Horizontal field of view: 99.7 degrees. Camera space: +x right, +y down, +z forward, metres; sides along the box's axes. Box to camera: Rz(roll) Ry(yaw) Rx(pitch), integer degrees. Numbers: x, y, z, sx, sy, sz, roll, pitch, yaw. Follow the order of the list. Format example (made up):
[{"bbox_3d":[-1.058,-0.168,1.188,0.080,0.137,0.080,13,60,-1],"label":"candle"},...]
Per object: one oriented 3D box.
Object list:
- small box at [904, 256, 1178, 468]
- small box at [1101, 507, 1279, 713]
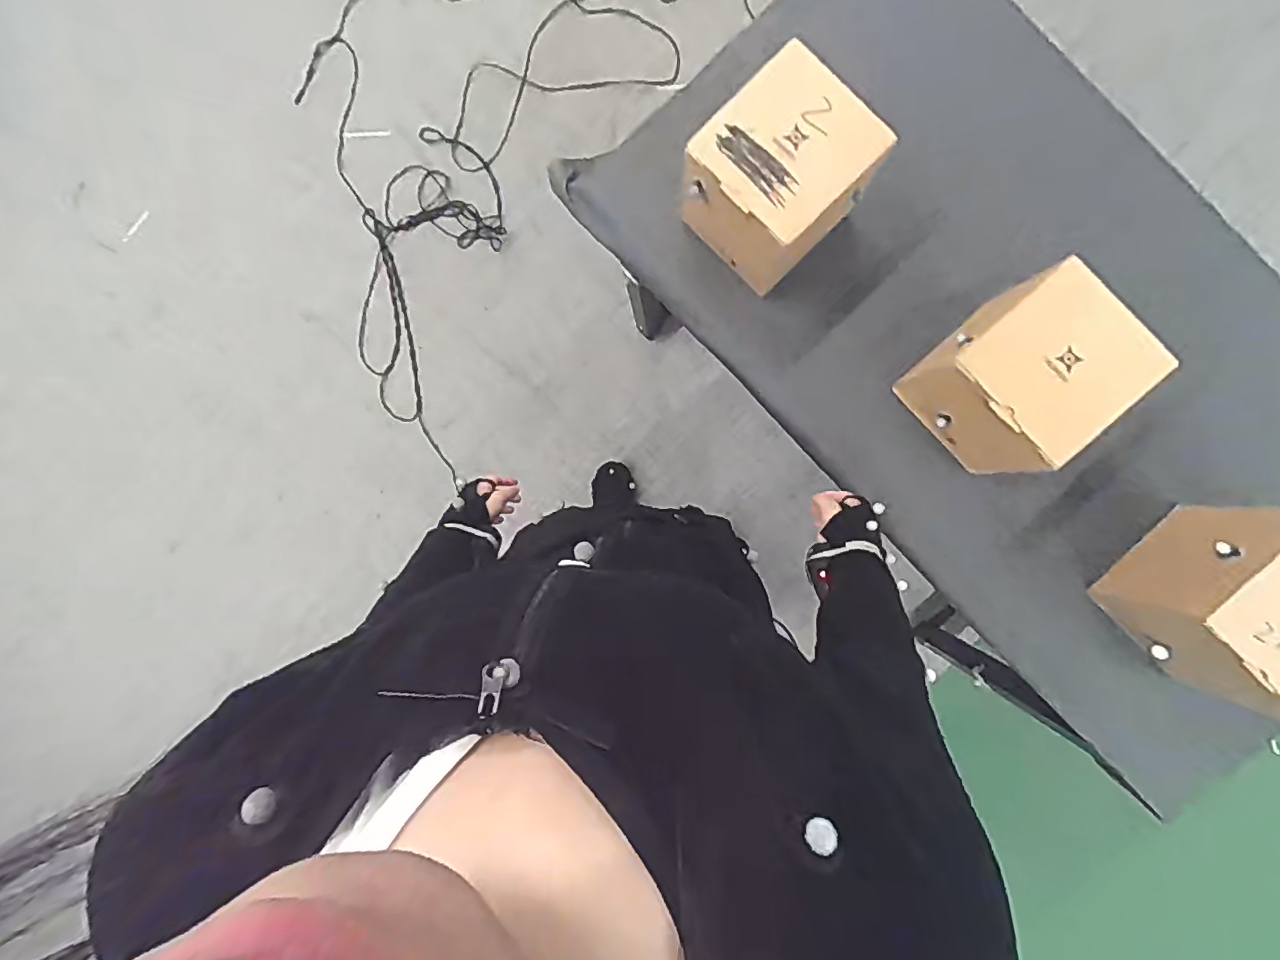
[{"bbox_3d":[0.473,-0.131,0.671,0.179,0.176,0.168,-43,88,3],"label":"small box"},{"bbox_3d":[0.728,0.146,0.650,0.179,0.176,0.168,-44,86,3],"label":"small box"}]
